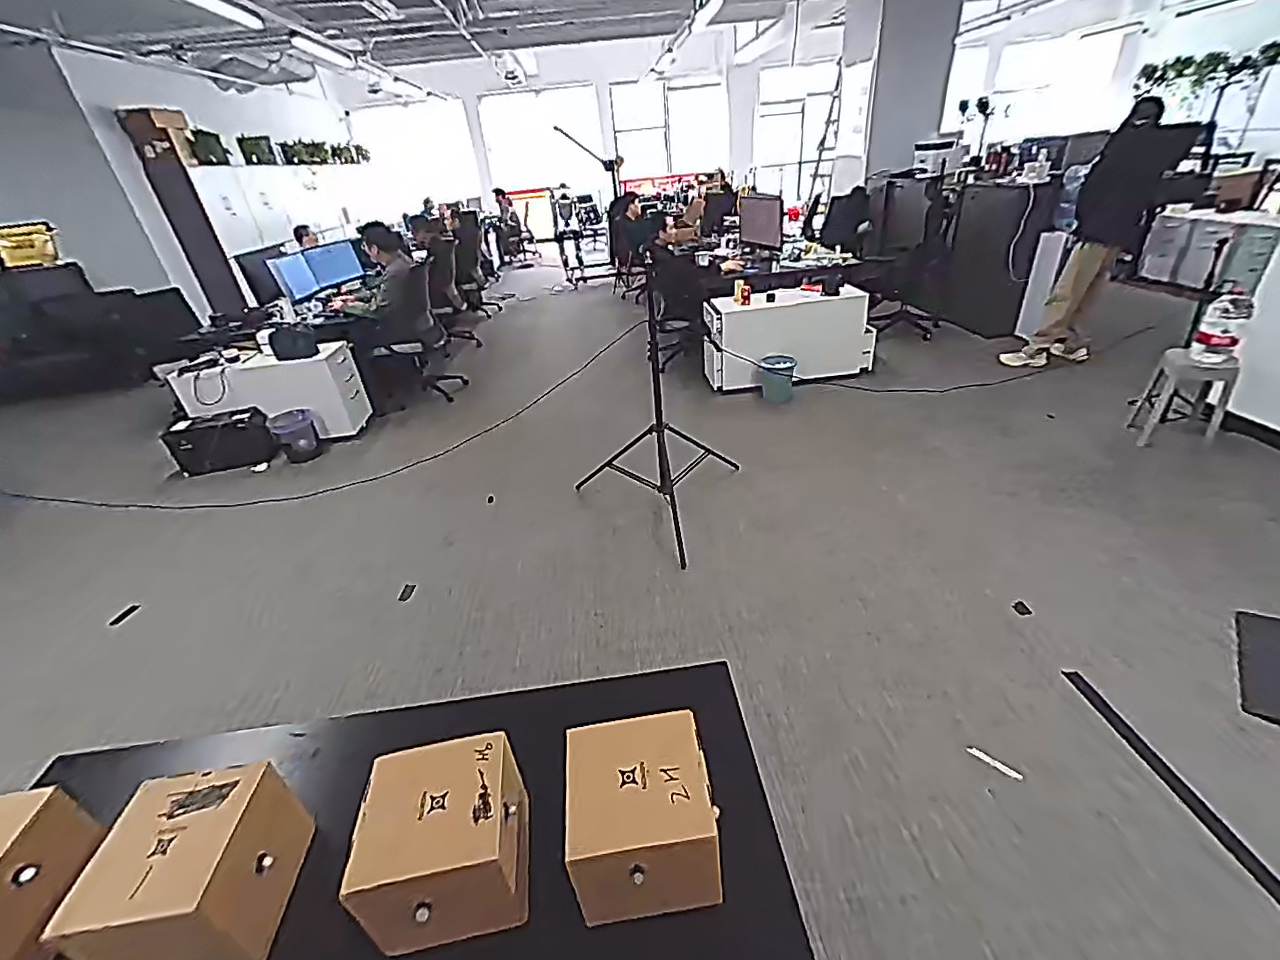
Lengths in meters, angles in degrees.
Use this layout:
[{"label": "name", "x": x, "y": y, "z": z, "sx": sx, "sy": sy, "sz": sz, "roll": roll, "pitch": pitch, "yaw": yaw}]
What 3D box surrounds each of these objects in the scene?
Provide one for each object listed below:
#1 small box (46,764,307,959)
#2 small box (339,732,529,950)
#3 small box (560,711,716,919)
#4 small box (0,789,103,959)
[{"label": "small box", "x": -0.568, "y": 0.509, "z": 0.701, "sx": 0.168, "sy": 0.176, "sz": 0.179, "roll": -8, "pitch": 31, "yaw": -3}, {"label": "small box", "x": -0.253, "y": 0.471, "z": 0.711, "sx": 0.179, "sy": 0.176, "sz": 0.168, "roll": -10, "pitch": 31, "yaw": -6}, {"label": "small box", "x": -0.003, "y": 0.441, "z": 0.715, "sx": 0.179, "sy": 0.176, "sz": 0.168, "roll": -8, "pitch": 31, "yaw": -2}, {"label": "small box", "x": -0.854, "y": 0.543, "z": 0.697, "sx": 0.168, "sy": 0.176, "sz": 0.179, "roll": -7, "pitch": 30, "yaw": -5}]
